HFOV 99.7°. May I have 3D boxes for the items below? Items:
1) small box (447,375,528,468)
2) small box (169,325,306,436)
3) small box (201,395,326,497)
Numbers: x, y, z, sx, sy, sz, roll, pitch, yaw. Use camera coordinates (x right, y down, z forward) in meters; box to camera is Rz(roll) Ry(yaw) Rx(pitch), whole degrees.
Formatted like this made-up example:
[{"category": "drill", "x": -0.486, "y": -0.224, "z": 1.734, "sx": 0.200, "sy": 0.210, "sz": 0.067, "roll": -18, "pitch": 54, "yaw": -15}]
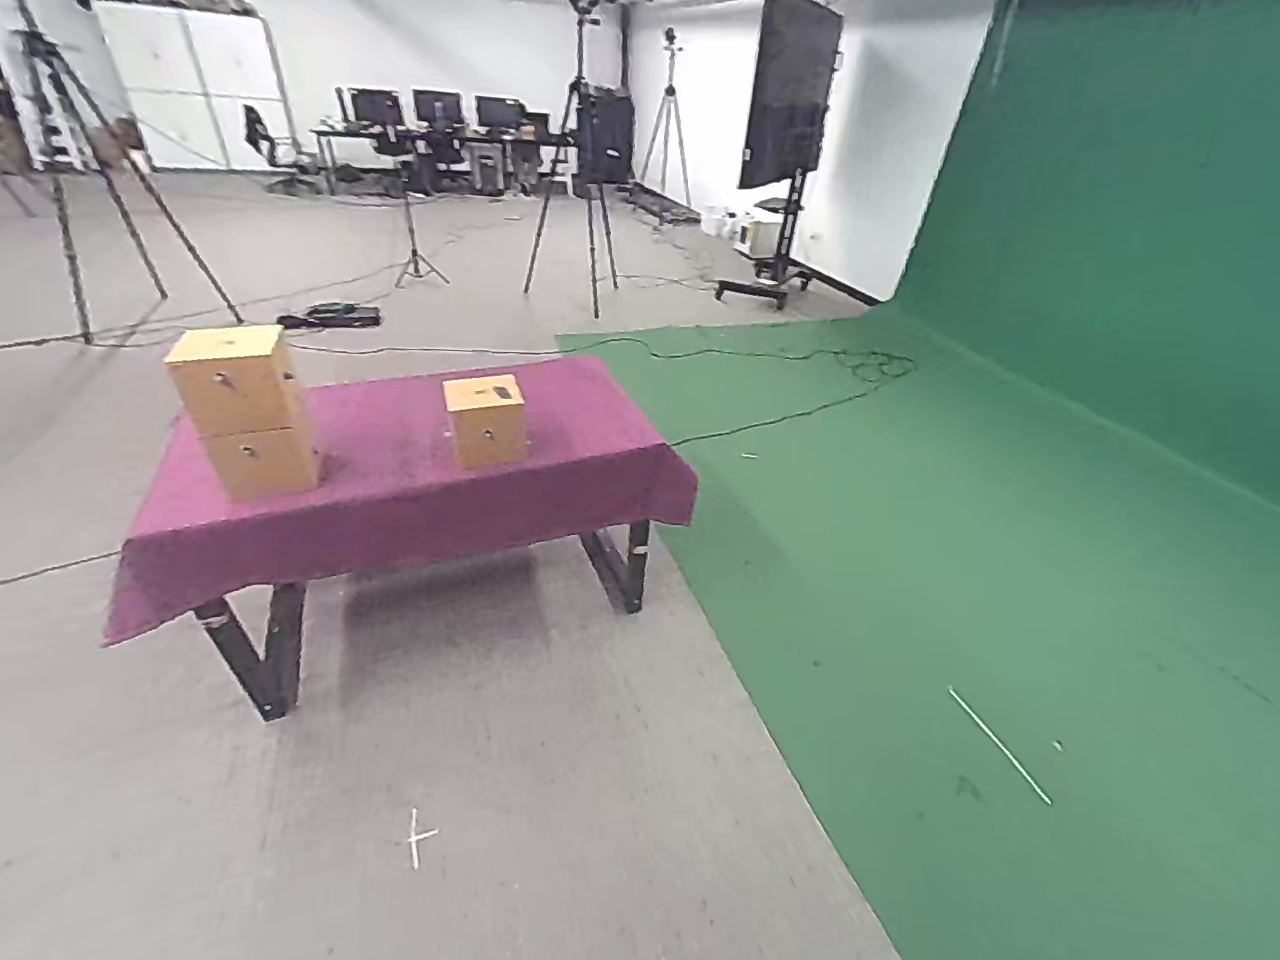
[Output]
[{"category": "small box", "x": -0.387, "y": -0.151, "z": 1.383, "sx": 0.179, "sy": 0.176, "sz": 0.168, "roll": -10, "pitch": 39, "yaw": -18}, {"category": "small box", "x": -0.828, "y": -0.210, "z": 1.137, "sx": 0.179, "sy": 0.176, "sz": 0.168, "roll": -10, "pitch": 39, "yaw": -18}, {"category": "small box", "x": -0.843, "y": -0.077, "z": 1.231, "sx": 0.179, "sy": 0.176, "sz": 0.168, "roll": -9, "pitch": 39, "yaw": -18}]
